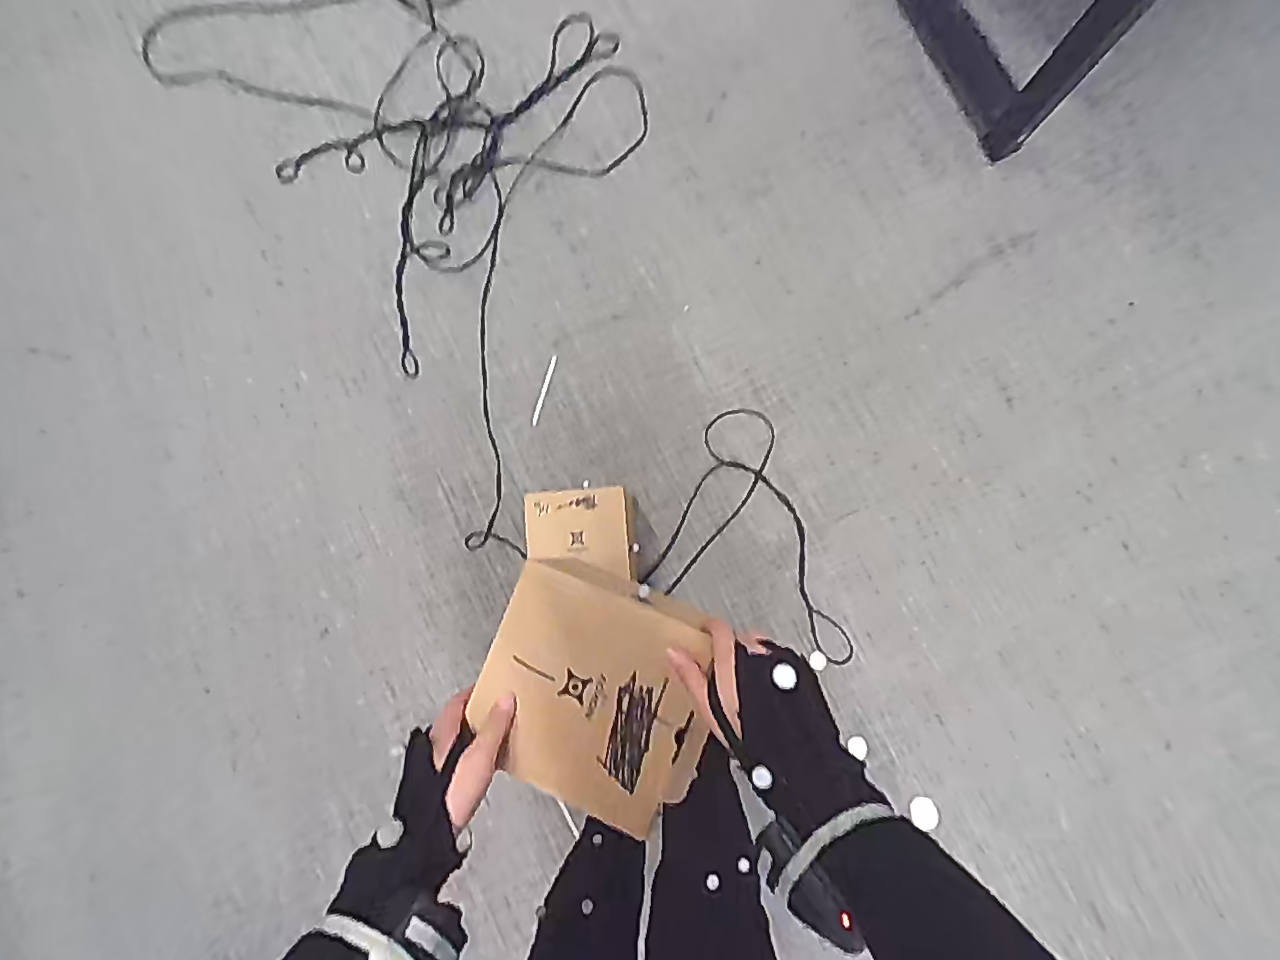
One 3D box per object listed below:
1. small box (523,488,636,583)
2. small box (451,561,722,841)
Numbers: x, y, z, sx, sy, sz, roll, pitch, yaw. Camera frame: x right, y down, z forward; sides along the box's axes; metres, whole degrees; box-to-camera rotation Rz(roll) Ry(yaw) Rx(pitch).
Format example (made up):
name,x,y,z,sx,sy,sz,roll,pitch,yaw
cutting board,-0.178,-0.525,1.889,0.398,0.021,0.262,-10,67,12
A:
name,x,y,z,sx,sy,sz,roll,pitch,yaw
small box,-0.098,0.110,0.945,0.168,0.176,0.179,-5,85,3
small box,-0.035,0.182,0.510,0.179,0.176,0.168,22,85,10
